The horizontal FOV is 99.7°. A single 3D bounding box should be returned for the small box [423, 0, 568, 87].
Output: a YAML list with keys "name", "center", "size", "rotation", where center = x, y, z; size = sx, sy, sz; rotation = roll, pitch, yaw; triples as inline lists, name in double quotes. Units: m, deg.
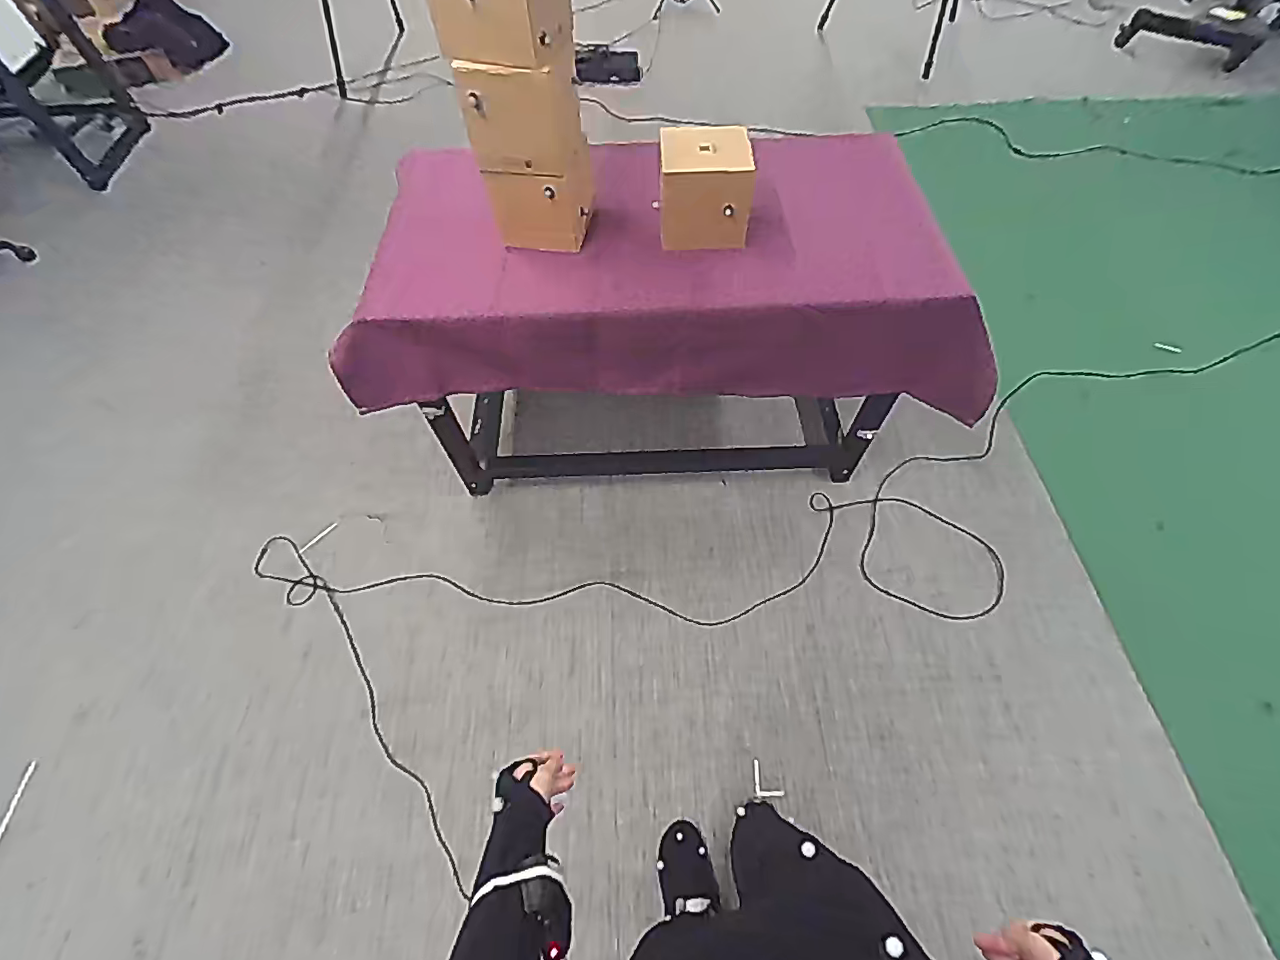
- name: "small box"
  center: [-0.228, -0.770, 0.878]
  size: [0.179, 0.176, 0.168]
  rotation: [13, 58, 10]

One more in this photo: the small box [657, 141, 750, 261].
- name: "small box"
  center: [0.125, -0.583, 1.138]
  size: [0.179, 0.176, 0.168]
  rotation: [-1, 57, 1]

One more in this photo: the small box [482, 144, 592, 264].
- name: "small box"
  center: [-0.208, -0.582, 1.148]
  size: [0.179, 0.176, 0.168]
  rotation: [7, 58, 6]
